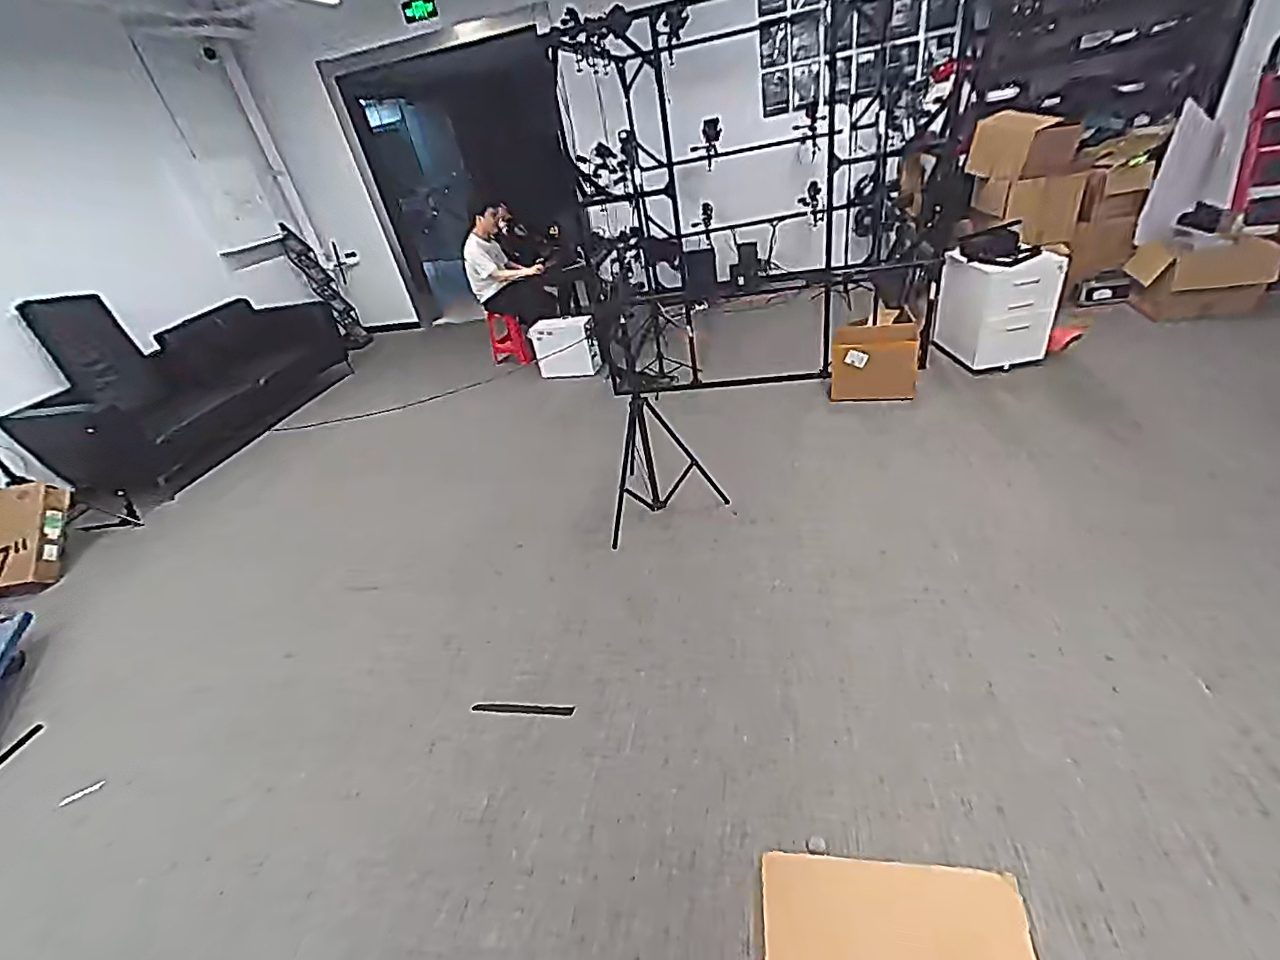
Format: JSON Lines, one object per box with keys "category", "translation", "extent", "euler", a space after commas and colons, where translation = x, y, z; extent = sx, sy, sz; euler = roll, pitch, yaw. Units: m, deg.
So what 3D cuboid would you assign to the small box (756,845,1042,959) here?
{"category": "small box", "translation": [0.175, 0.382, 0.393], "extent": [0.179, 0.176, 0.168], "euler": [0, 51, 9]}
